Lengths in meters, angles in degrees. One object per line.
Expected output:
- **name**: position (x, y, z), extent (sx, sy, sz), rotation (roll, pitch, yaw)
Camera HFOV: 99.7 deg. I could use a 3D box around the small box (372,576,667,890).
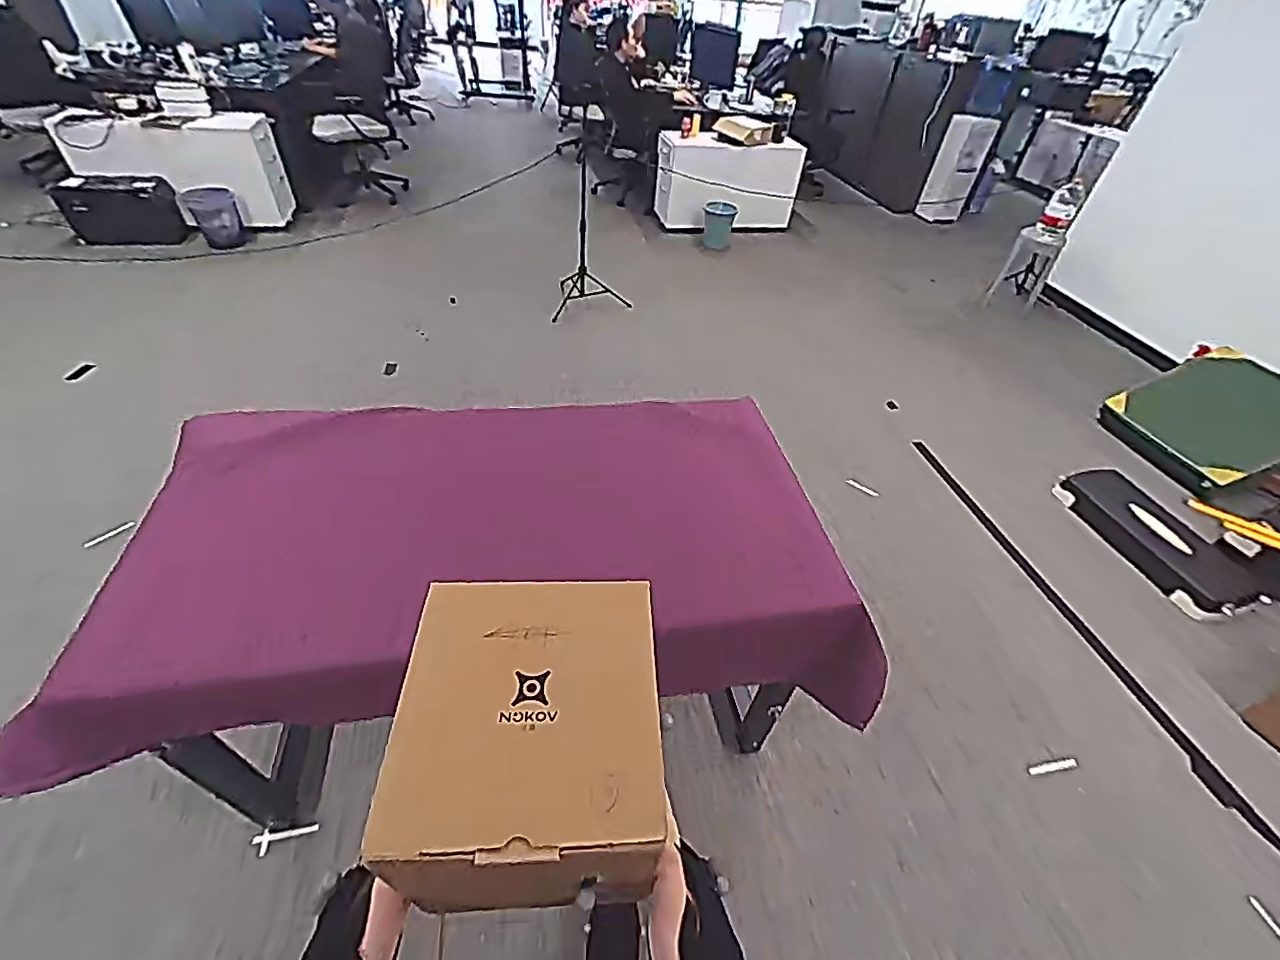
- **small box**: position (-0.072, 0.192, 0.409), extent (0.168, 0.176, 0.179), rotation (1, 44, -5)
